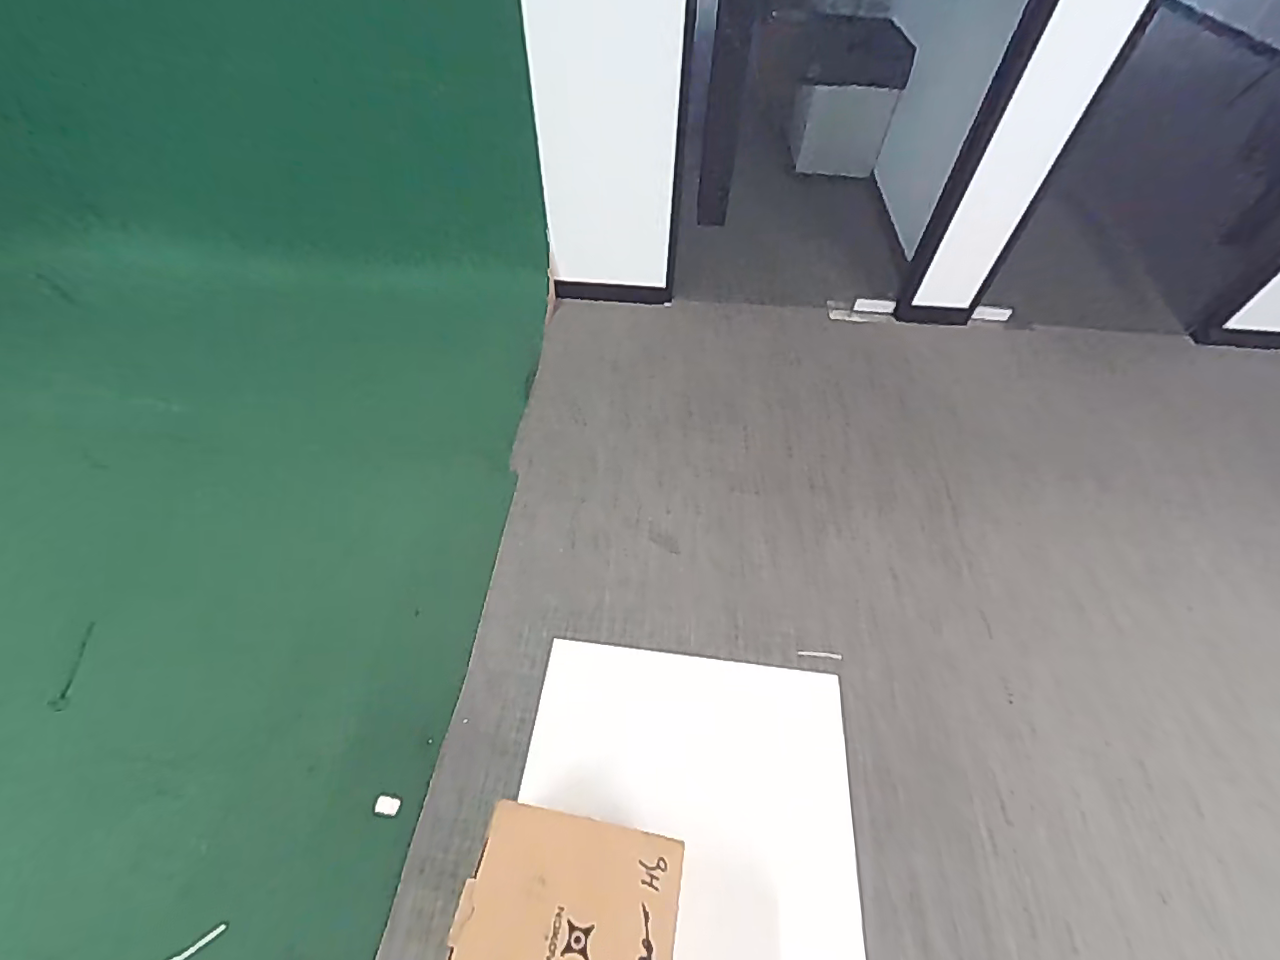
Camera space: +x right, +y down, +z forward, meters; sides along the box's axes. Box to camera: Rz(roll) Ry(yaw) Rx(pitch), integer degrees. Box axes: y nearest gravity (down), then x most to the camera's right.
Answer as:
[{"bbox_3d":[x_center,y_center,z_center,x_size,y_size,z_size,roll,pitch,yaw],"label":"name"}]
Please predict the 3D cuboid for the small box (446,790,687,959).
[{"bbox_3d":[-0.066,0.413,0.497,0.179,0.176,0.168,13,49,2],"label":"small box"}]
